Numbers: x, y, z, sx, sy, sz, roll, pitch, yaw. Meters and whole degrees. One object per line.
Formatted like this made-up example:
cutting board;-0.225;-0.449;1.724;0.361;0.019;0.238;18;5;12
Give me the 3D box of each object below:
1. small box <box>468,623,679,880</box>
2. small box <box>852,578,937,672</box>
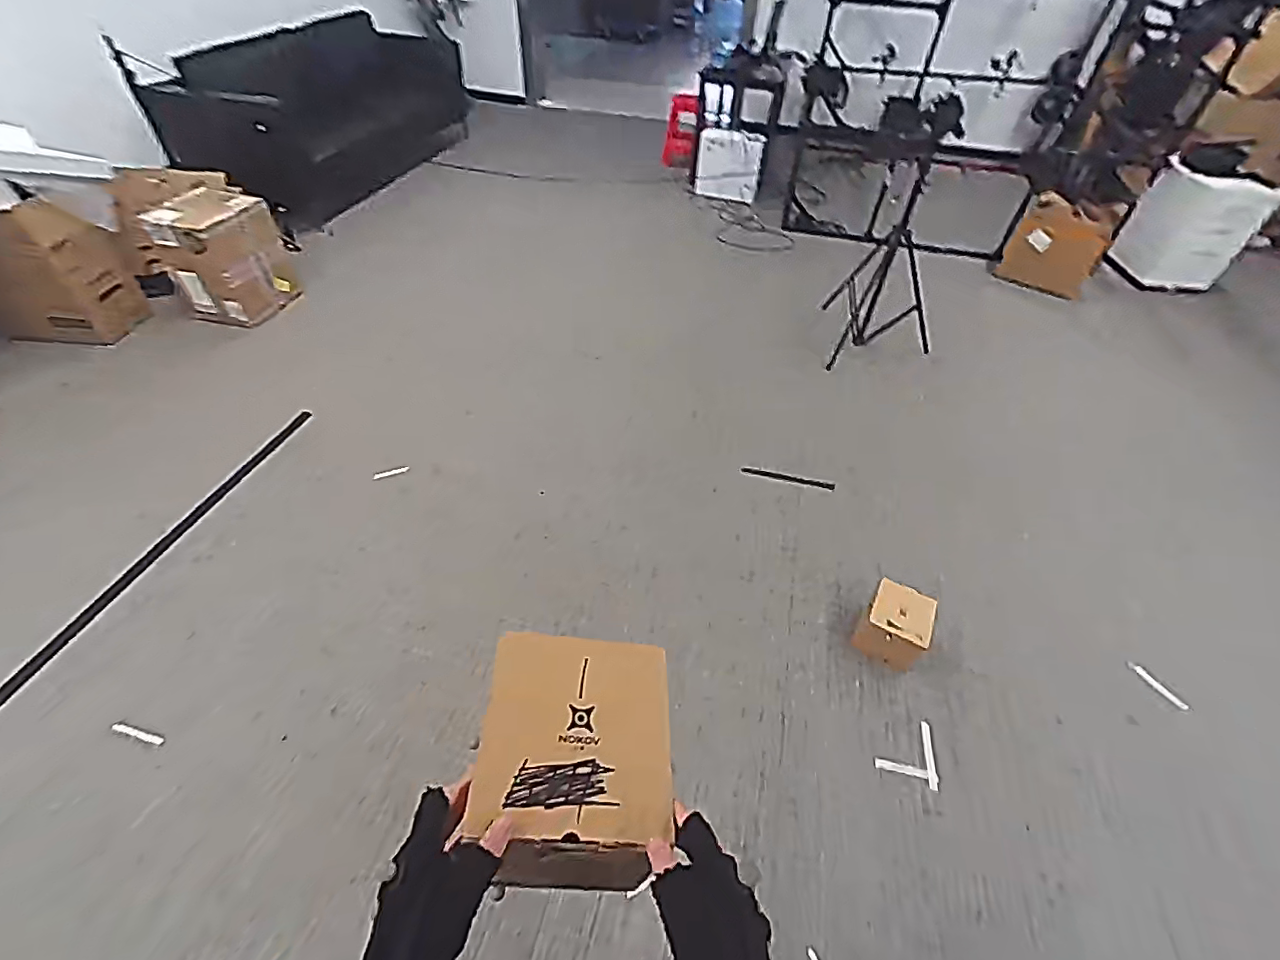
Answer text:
small box;-0.063;0.268;0.528;0.168;0.176;0.179;9;42;-8
small box;0.756;0.434;1.616;0.168;0.176;0.179;24;49;18
